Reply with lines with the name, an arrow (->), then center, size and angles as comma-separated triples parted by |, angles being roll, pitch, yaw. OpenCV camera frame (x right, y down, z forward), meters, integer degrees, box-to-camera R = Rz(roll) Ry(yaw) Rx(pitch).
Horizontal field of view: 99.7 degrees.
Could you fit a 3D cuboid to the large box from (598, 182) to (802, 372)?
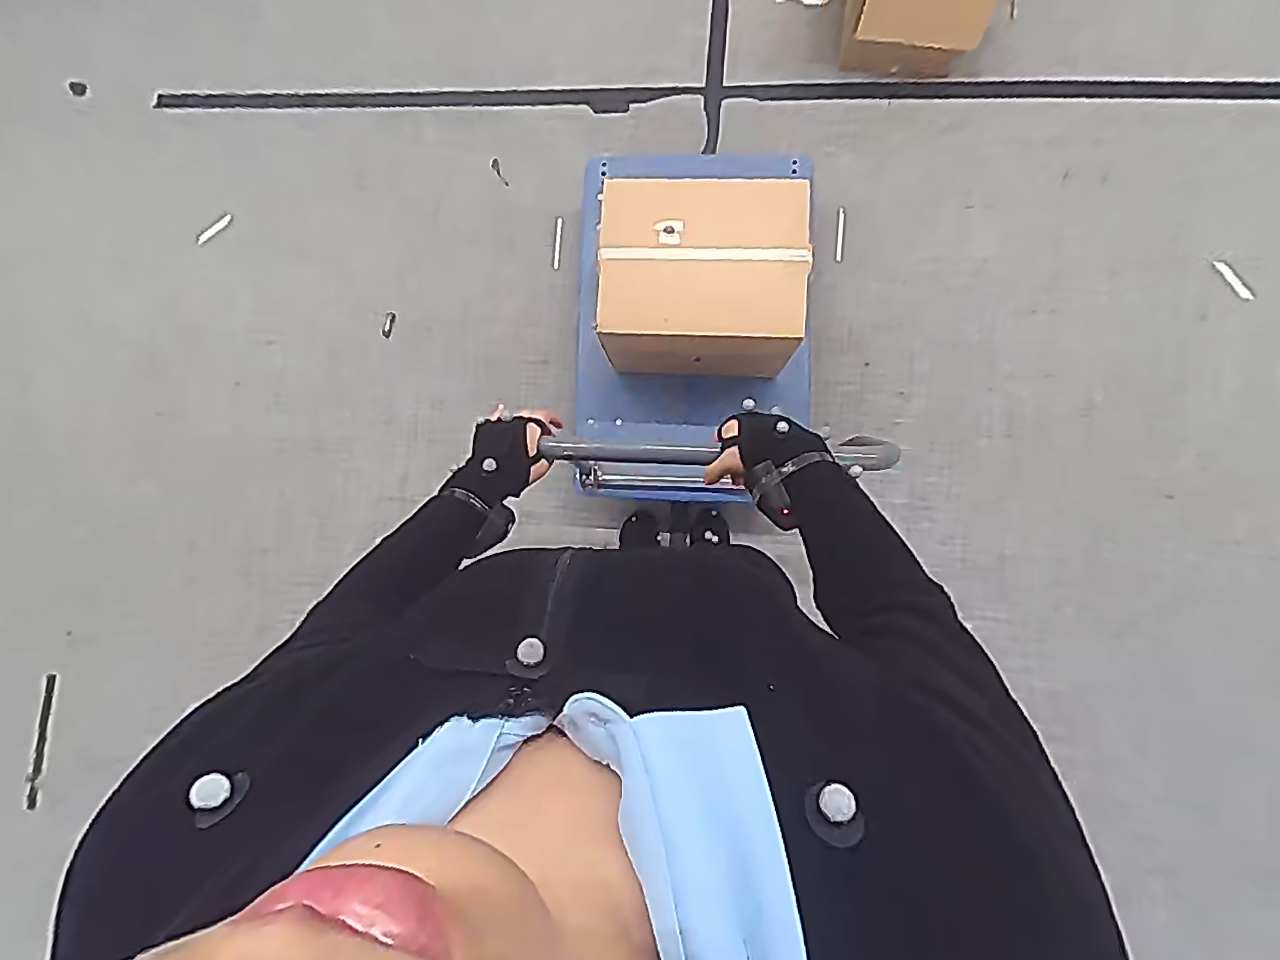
large box -> 0.132, -0.430, 1.218 | 0.408, 0.320, 0.320 | 2, 86, 5
